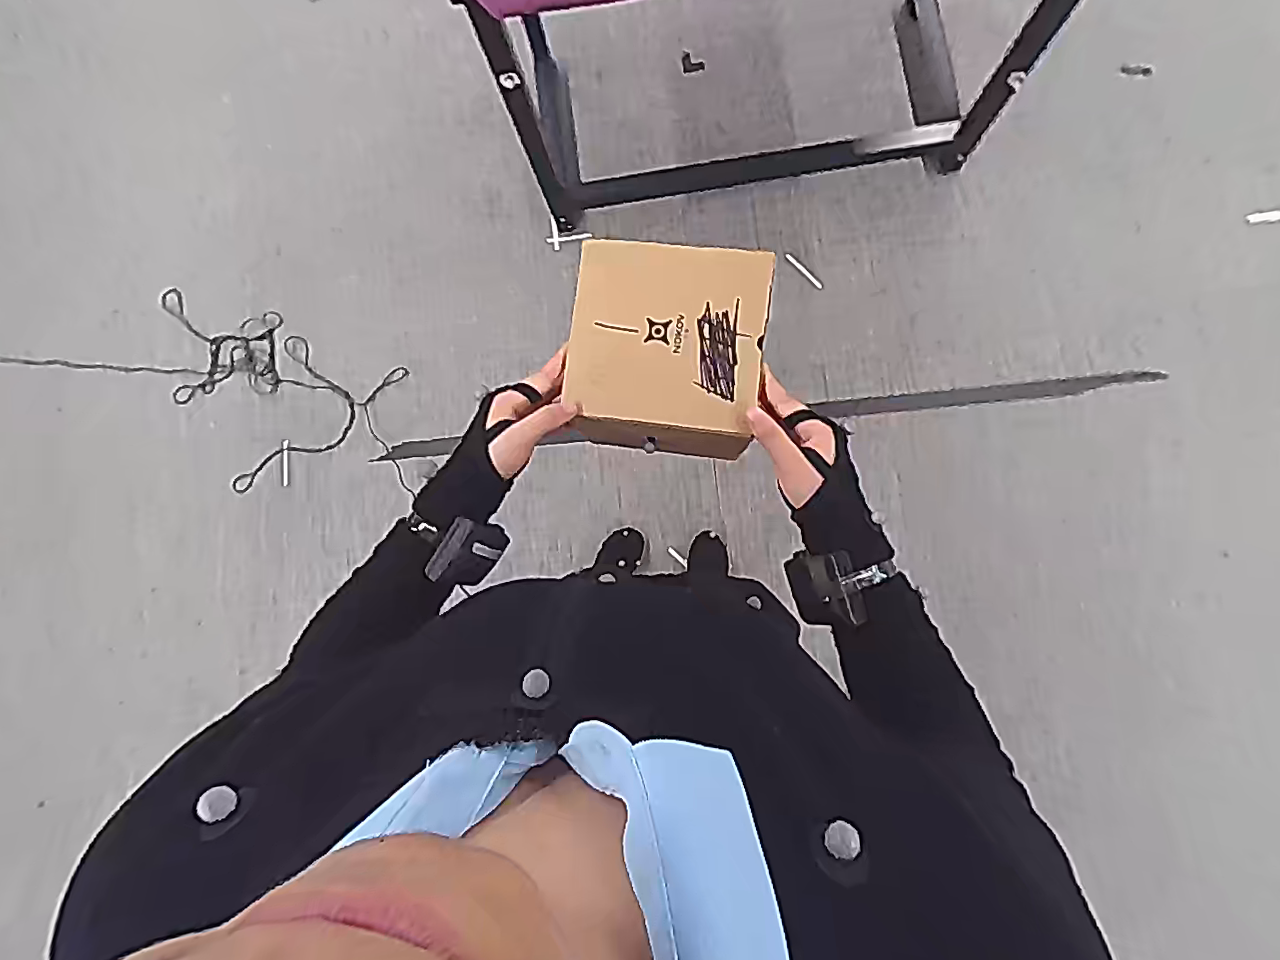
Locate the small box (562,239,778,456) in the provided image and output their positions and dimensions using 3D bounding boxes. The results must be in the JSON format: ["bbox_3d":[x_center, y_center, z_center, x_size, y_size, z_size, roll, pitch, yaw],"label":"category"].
[{"bbox_3d":[0.033,-0.121,0.556,0.179,0.176,0.168,7,85,6],"label":"small box"}]
